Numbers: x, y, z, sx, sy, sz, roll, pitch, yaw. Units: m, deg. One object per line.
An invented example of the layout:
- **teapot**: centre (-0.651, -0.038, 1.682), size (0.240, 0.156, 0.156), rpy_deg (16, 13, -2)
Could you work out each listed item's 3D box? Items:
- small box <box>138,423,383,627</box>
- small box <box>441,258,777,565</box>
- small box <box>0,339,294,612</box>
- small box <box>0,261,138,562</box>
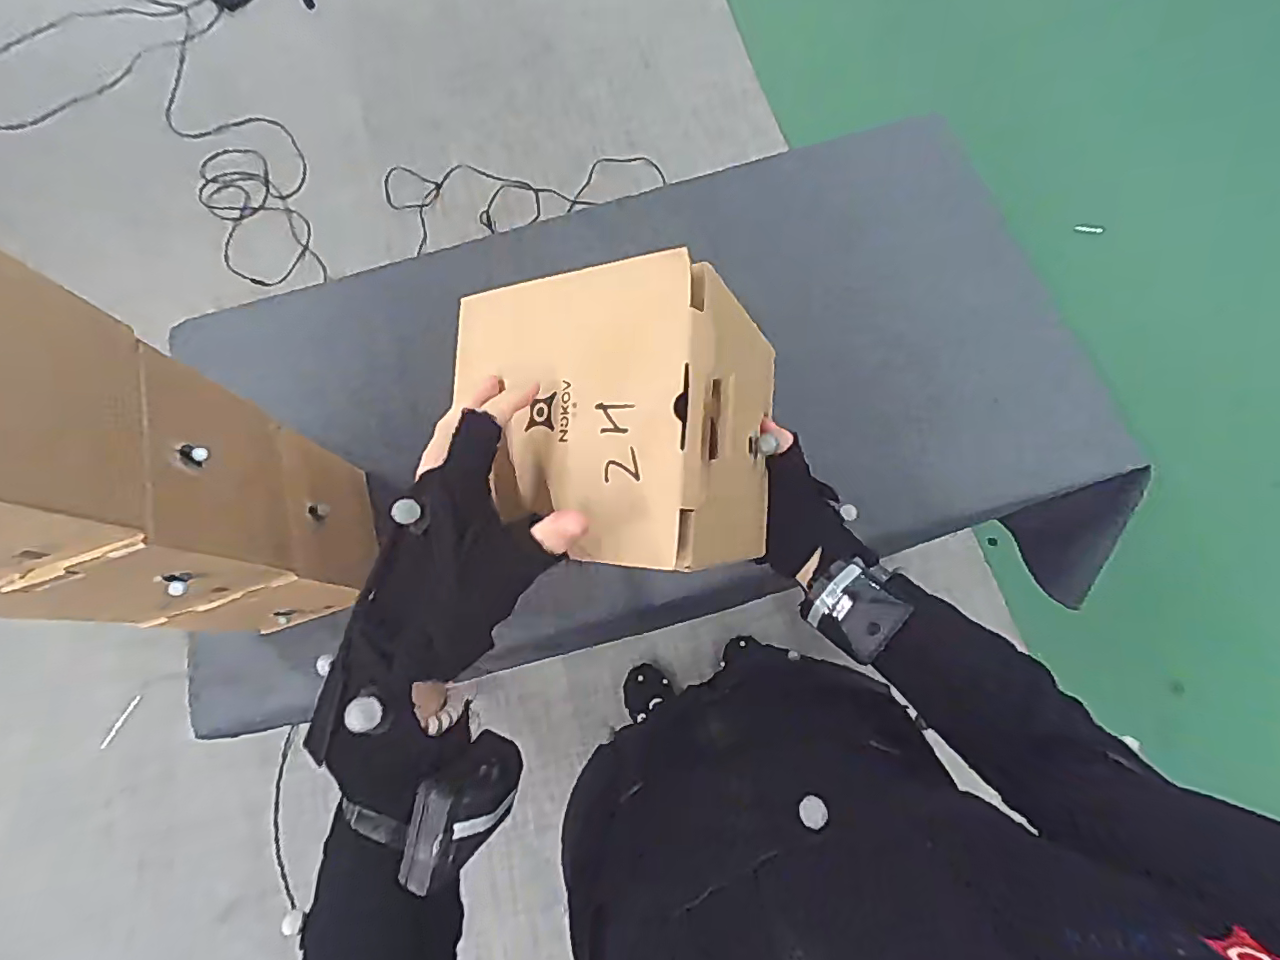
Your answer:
- **small box**: centre (-0.429, 0.062, 0.630), size (0.168, 0.176, 0.179), rpy_deg (-18, 73, -1)
- **small box**: centre (-0.012, -0.034, 0.390), size (0.179, 0.176, 0.168), rpy_deg (3, 88, 27)
- **small box**: centre (-0.439, 0.012, 0.476), size (0.168, 0.176, 0.179), rpy_deg (-17, 73, -2)
- **small box**: centre (-0.452, -0.043, 0.322), size (0.168, 0.176, 0.179), rpy_deg (-18, 73, -3)
